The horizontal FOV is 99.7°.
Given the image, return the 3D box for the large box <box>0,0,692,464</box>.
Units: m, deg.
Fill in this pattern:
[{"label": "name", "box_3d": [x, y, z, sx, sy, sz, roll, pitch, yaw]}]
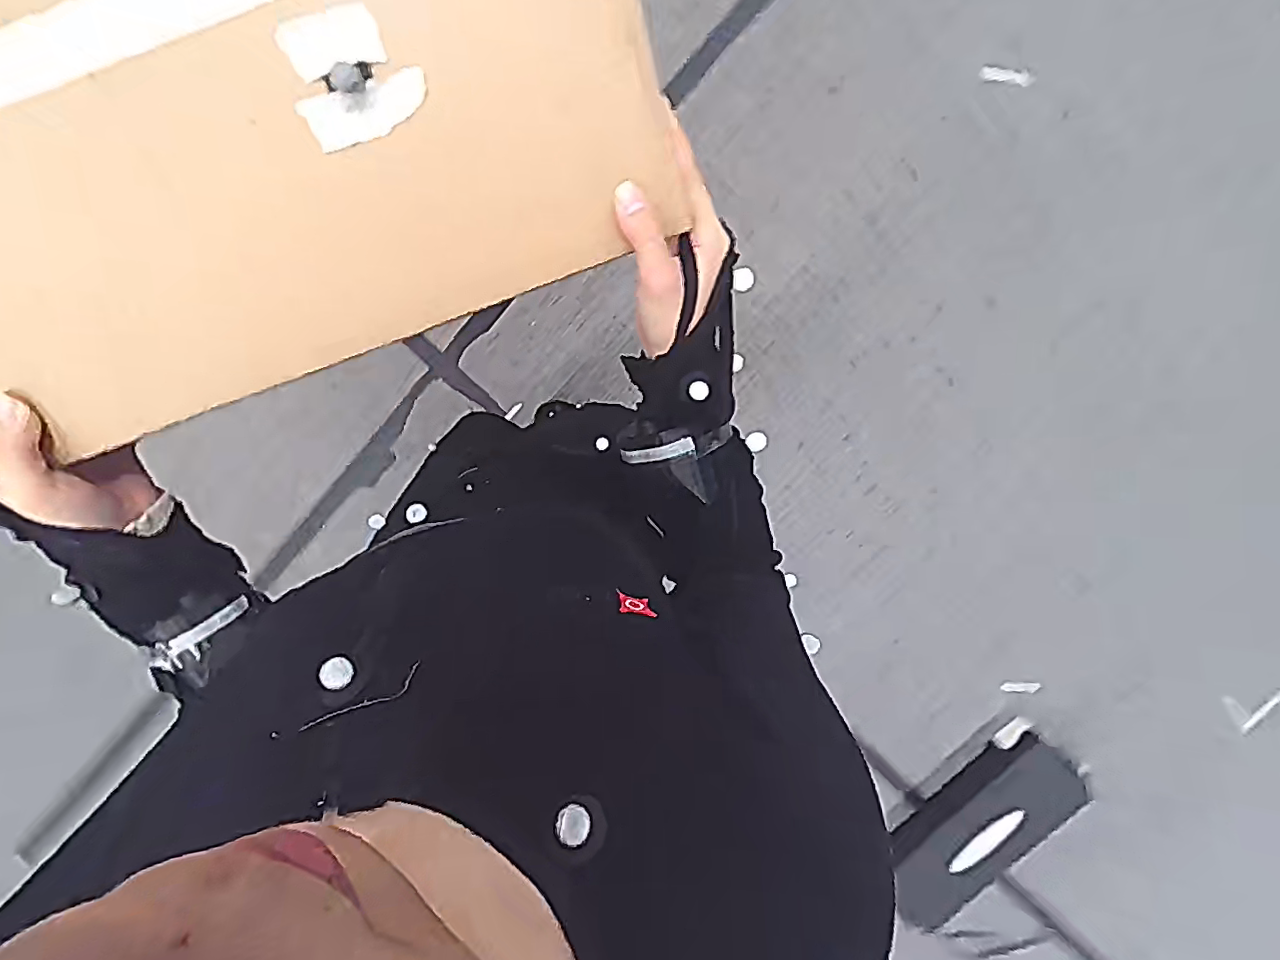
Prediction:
[{"label": "large box", "box_3d": [-0.226, -0.267, 0.372, 0.408, 0.320, 0.320, -21, 119, -1]}]
